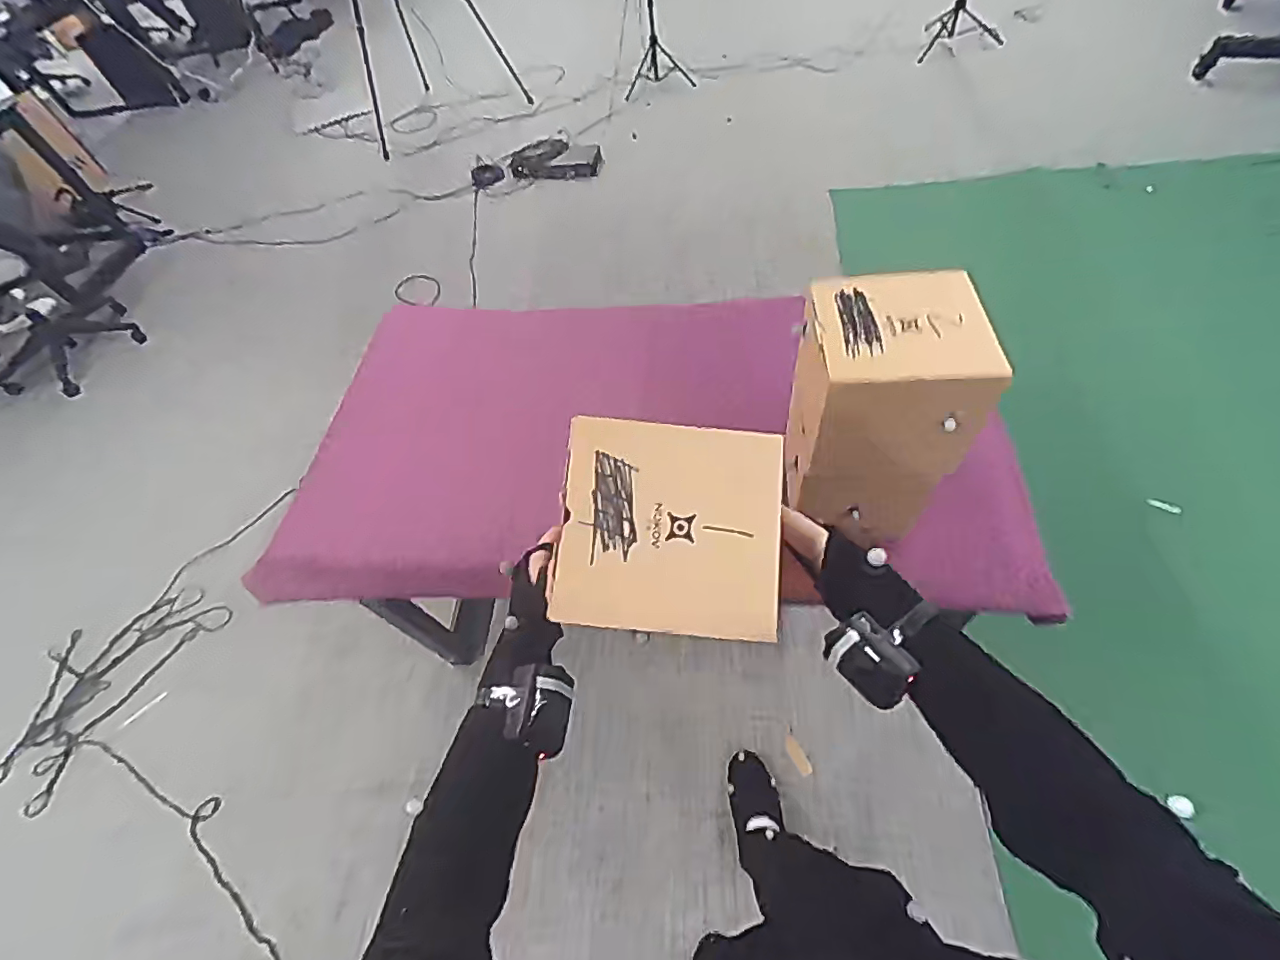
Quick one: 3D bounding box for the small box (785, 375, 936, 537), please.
[{"bbox_3d":[0.303,-0.030,0.783,0.168,0.176,0.179,1,55,9],"label":"small box"}]
